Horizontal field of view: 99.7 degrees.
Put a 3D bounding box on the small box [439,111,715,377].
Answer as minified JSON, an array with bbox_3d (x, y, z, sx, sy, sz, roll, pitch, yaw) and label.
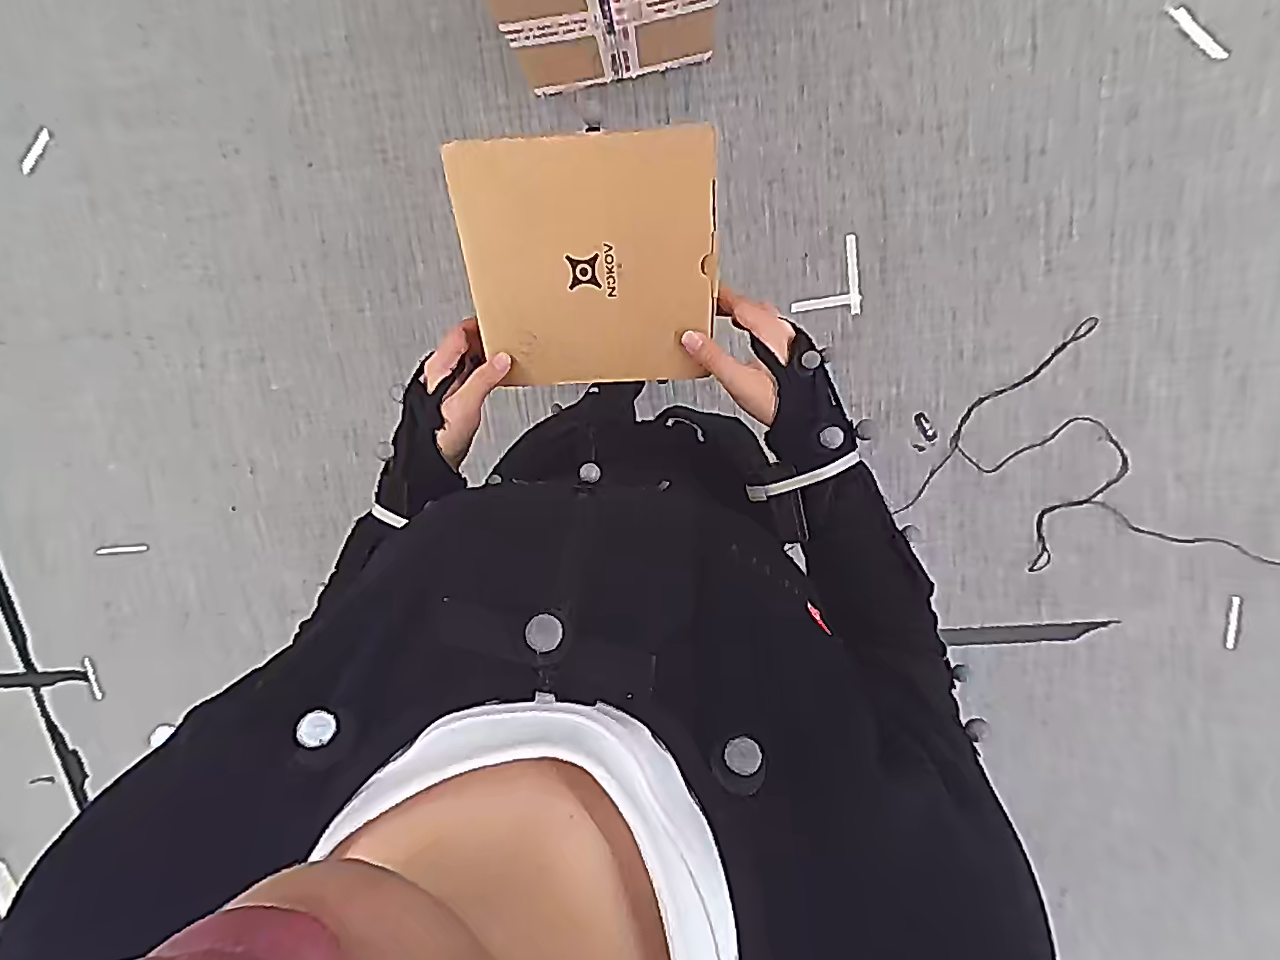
[{"bbox_3d":[-0.034,-0.194,0.442,0.179,0.176,0.168,-3,122,3],"label":"small box"}]
